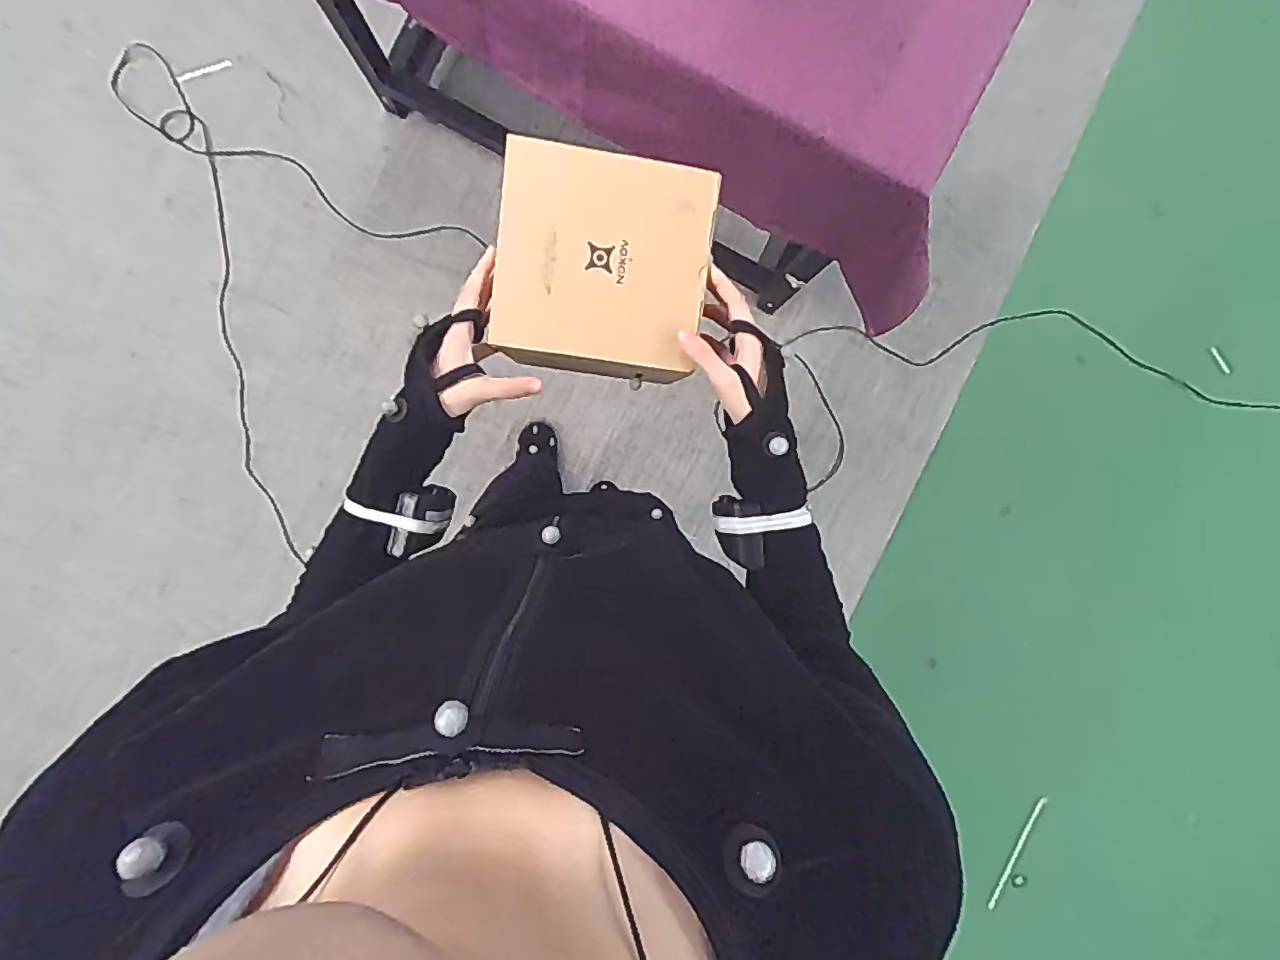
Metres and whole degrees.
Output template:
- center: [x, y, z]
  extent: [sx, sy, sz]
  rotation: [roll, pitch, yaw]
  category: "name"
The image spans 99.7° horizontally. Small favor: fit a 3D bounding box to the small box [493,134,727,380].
- center: [-0.031, -0.193, 0.524]
  extent: [0.179, 0.176, 0.168]
  rotation: [8, 96, -6]
  category: "small box"
